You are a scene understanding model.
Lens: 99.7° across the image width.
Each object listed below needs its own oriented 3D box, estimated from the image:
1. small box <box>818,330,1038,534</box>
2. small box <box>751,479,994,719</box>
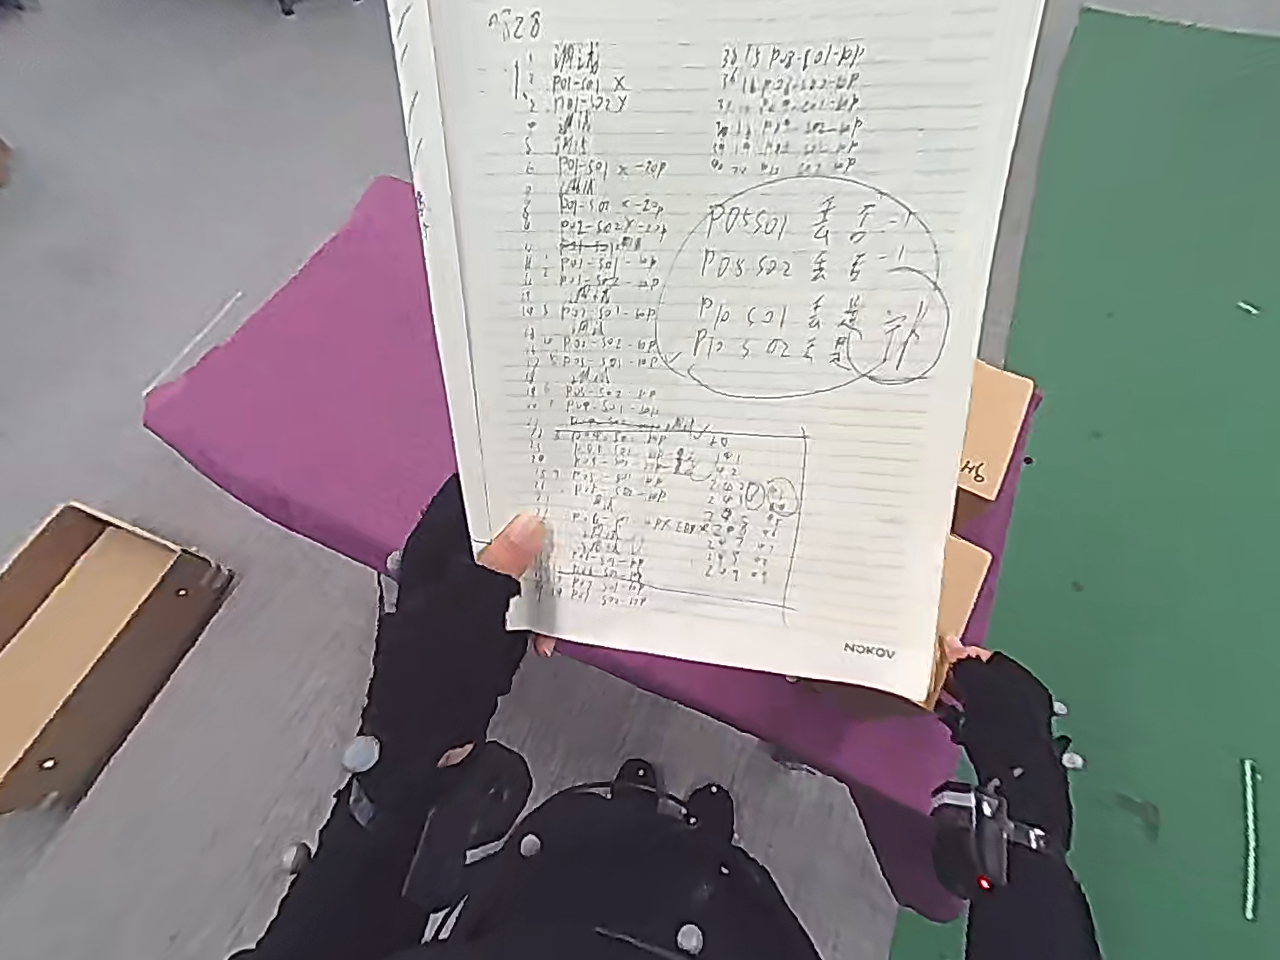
[{"bbox_3d":[0.343,-0.044,0.674,0.168,0.176,0.179,27,68,15],"label":"small box"},{"bbox_3d":[0.237,0.136,0.593,0.168,0.176,0.179,30,69,16],"label":"small box"}]
